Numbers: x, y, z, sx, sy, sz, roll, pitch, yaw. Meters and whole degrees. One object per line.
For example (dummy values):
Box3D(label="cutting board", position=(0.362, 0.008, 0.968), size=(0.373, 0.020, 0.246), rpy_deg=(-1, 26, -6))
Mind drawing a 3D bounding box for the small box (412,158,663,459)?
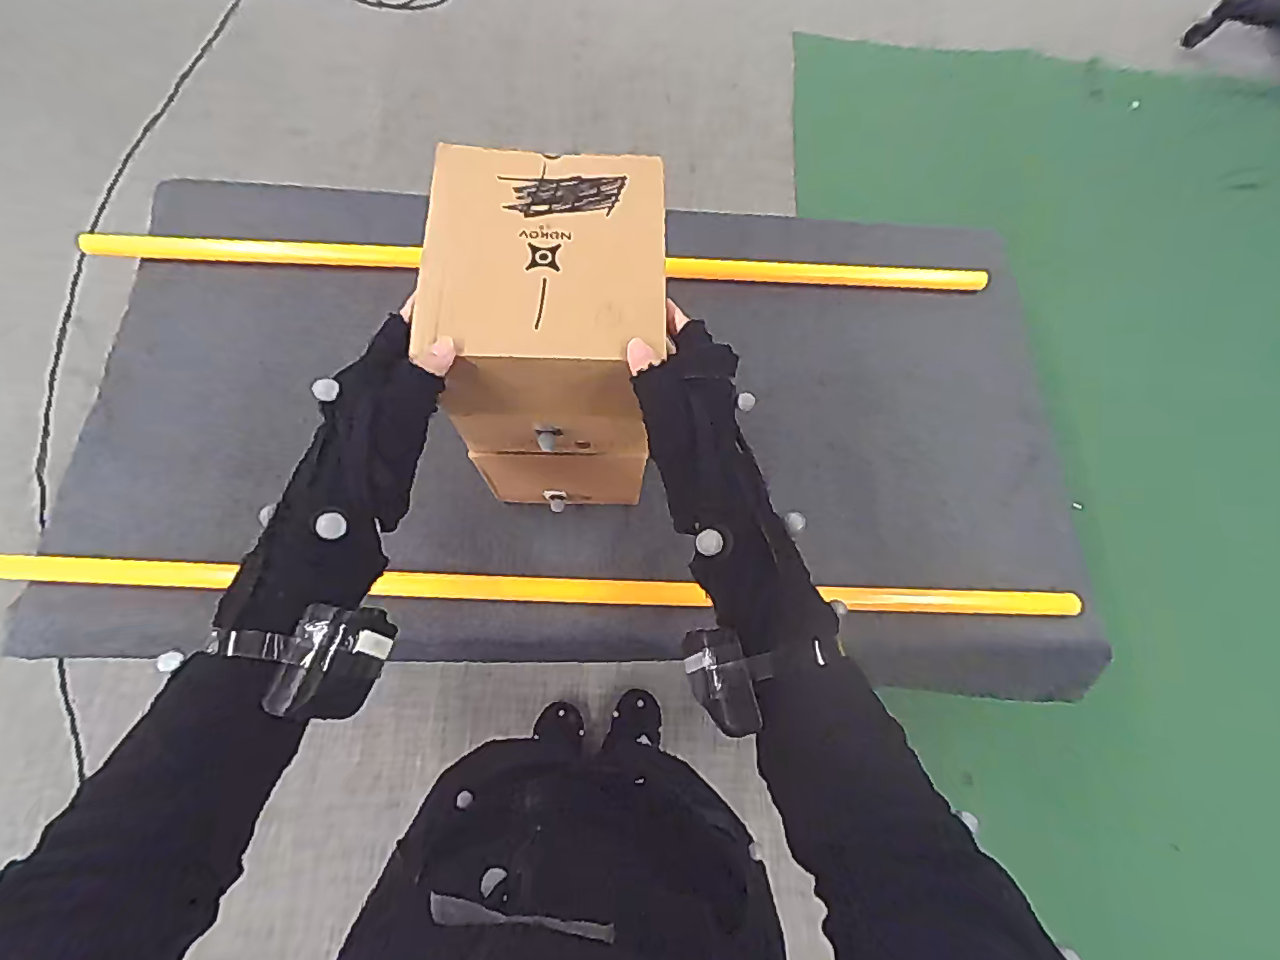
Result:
Box3D(label="small box", position=(-0.070, -0.130, 0.454), size=(0.168, 0.176, 0.179), rpy_deg=(1, 71, -2))

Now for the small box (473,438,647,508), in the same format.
Box3D(label="small box", position=(-0.081, -0.075, 0.609), size=(0.168, 0.176, 0.179), rpy_deg=(-1, 72, -3))
